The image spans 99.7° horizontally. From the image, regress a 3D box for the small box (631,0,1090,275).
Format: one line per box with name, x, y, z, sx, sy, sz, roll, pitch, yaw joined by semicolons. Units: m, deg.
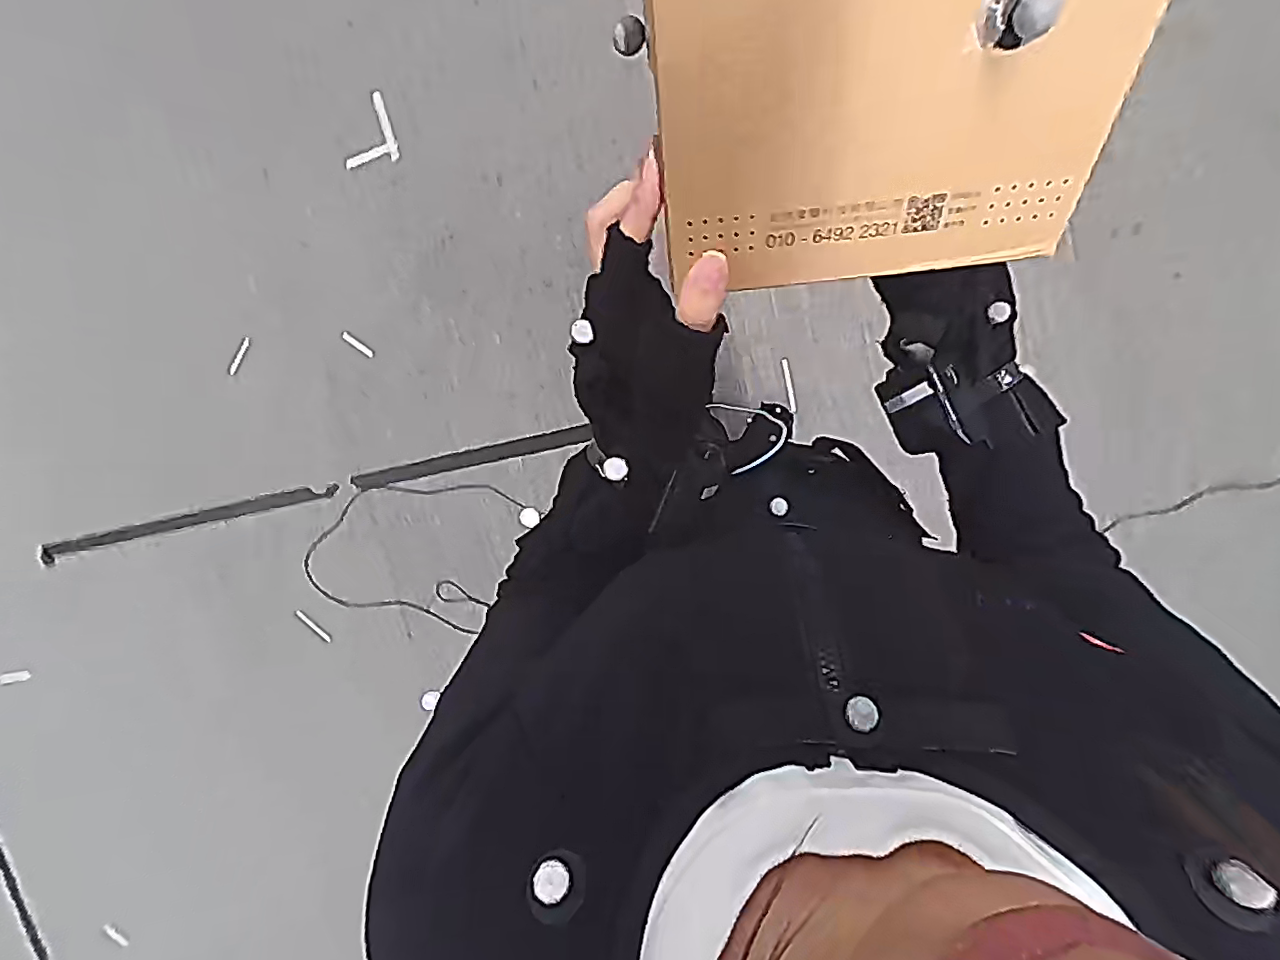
small box;0.084;-0.212;0.258;0.168;0.179;0.176;-4;137;6
